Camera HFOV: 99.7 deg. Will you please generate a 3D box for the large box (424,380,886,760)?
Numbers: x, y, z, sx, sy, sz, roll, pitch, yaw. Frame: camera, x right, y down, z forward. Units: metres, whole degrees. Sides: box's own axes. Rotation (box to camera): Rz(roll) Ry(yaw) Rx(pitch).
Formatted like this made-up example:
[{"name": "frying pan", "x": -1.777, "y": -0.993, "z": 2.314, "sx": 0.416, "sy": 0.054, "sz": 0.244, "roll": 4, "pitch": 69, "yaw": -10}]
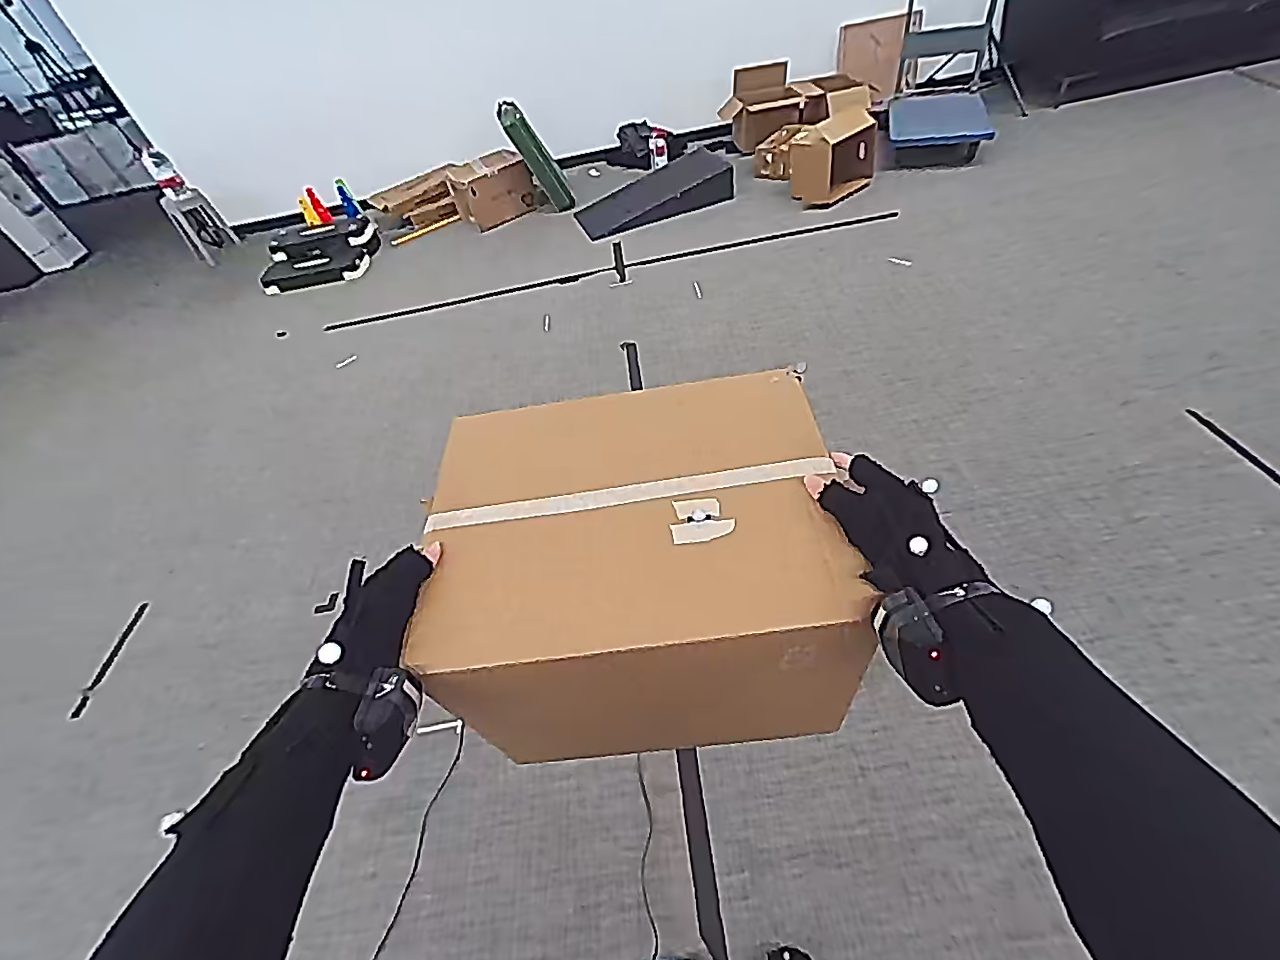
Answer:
[{"name": "large box", "x": 0.015, "y": 0.118, "z": 0.661, "sx": 0.408, "sy": 0.320, "sz": 0.320, "roll": -8, "pitch": 50, "yaw": 3}]
